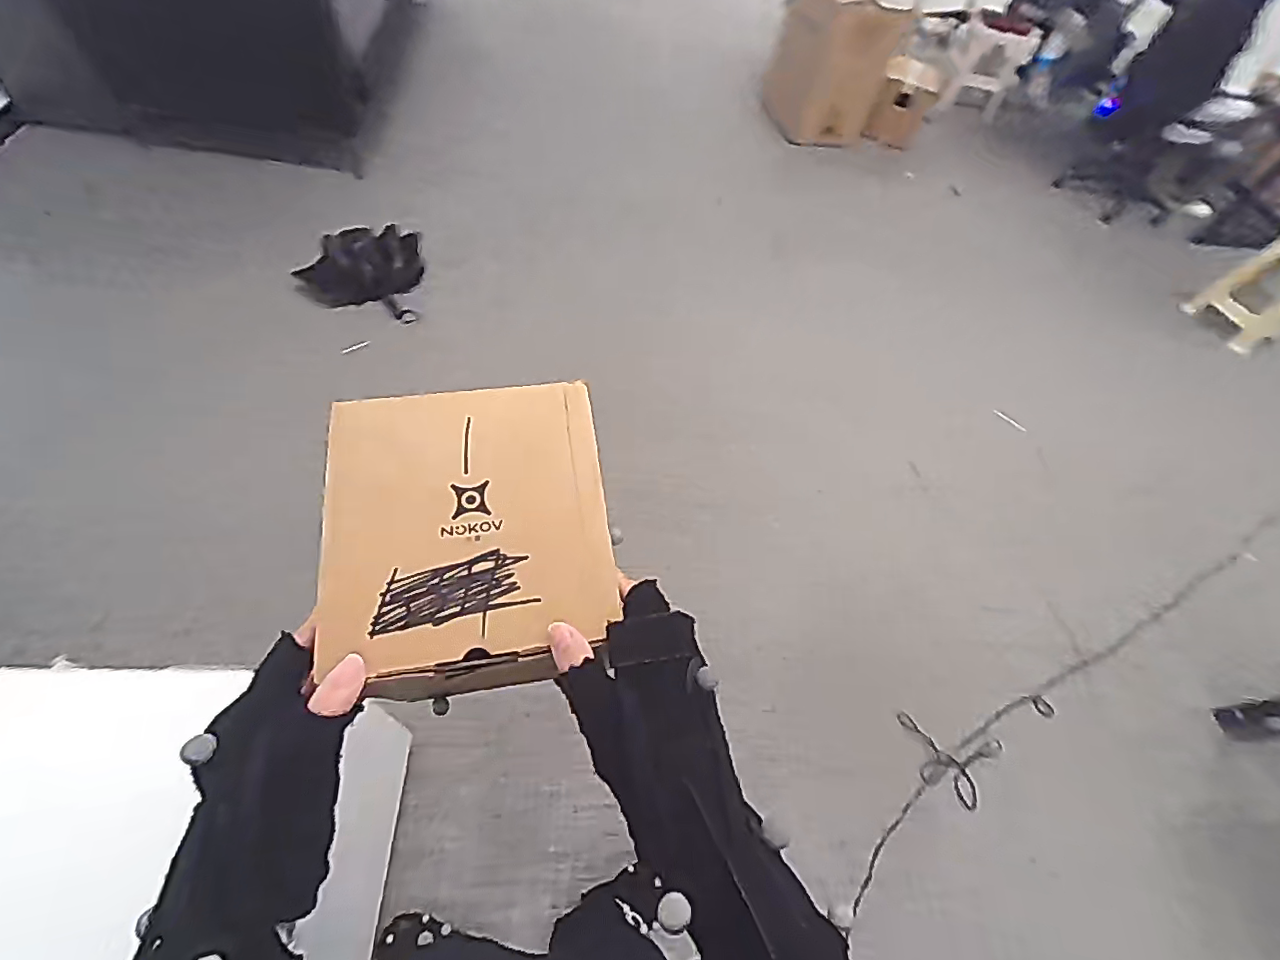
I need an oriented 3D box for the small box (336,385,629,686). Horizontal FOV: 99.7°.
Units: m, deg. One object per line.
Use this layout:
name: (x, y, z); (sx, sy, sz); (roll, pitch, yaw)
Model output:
small box: (-0.101, 0.053, 0.405); (0.168, 0.176, 0.179); (-6, 66, -8)
